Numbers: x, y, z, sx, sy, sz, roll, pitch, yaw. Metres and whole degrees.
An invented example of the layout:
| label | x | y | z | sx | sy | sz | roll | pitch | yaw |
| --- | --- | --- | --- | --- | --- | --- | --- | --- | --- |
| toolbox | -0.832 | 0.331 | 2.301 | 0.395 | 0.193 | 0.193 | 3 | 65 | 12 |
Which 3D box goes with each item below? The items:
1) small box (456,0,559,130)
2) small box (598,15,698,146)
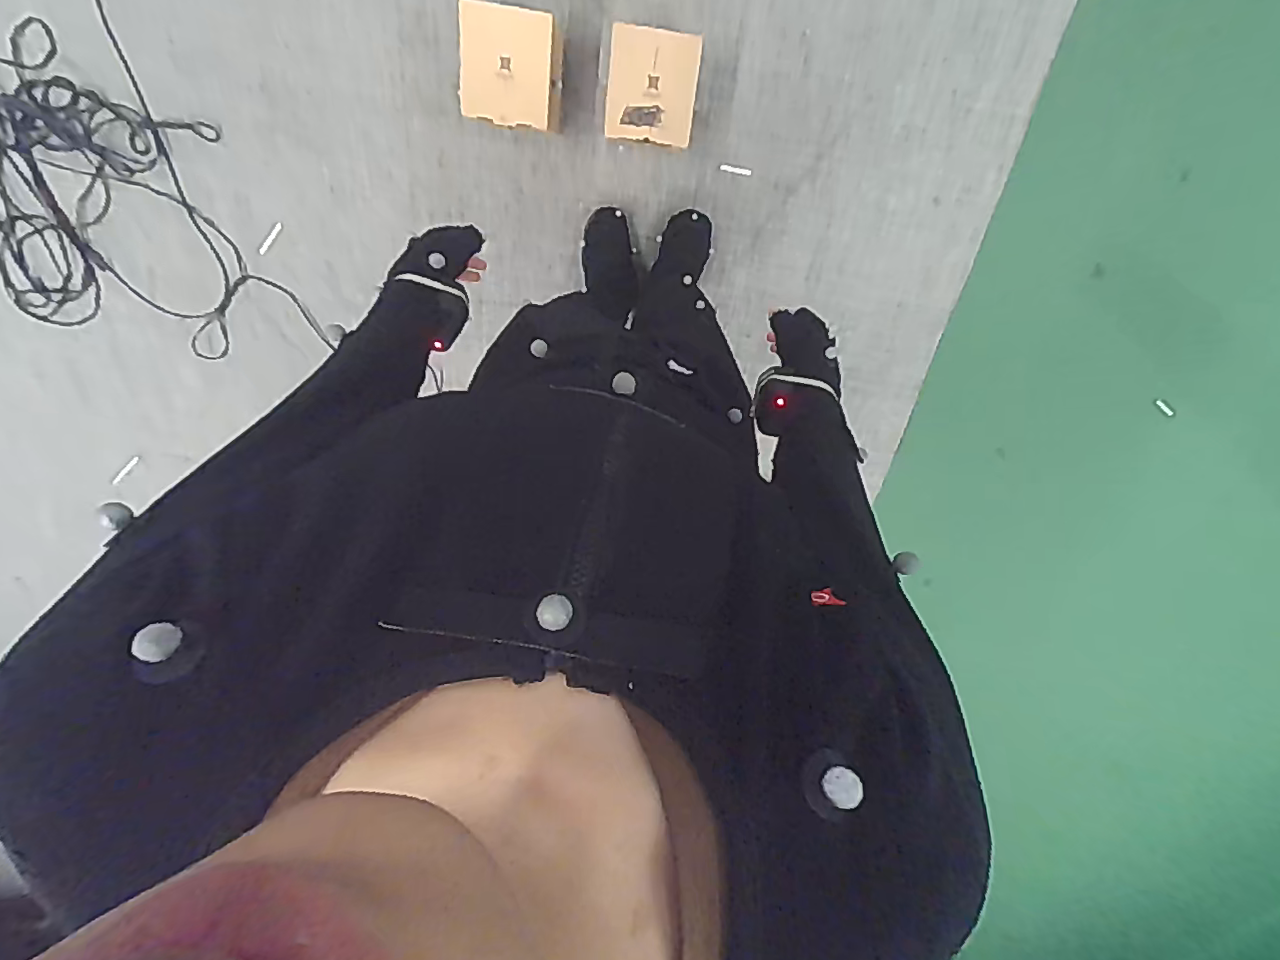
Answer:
| label | x | y | z | sx | sy | sz | roll | pitch | yaw |
| --- | --- | --- | --- | --- | --- | --- | --- | --- | --- |
| small box | -0.252 | -0.800 | 1.050 | 0.168 | 0.176 | 0.179 | 7 | 120 | -4 |
| small box | 0.012 | -0.771 | 1.065 | 0.168 | 0.176 | 0.179 | 7 | 119 | -4 |
